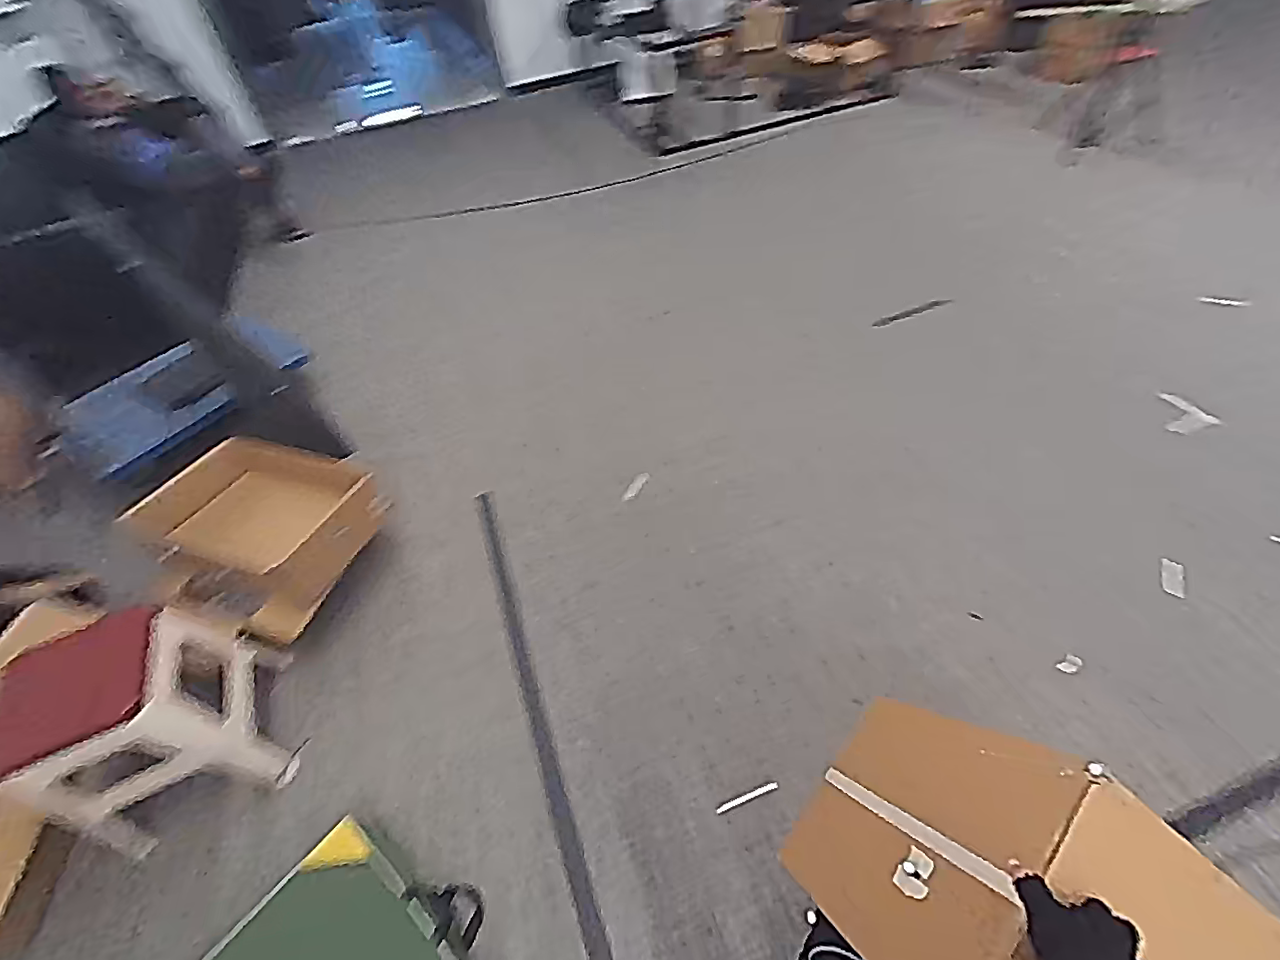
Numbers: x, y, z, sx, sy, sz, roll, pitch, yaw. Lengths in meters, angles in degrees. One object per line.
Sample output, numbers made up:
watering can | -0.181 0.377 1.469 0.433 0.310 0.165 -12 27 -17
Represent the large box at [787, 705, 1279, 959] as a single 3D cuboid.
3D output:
large box | 0.472 0.557 0.707 0.320 0.408 0.320 41 76 1
